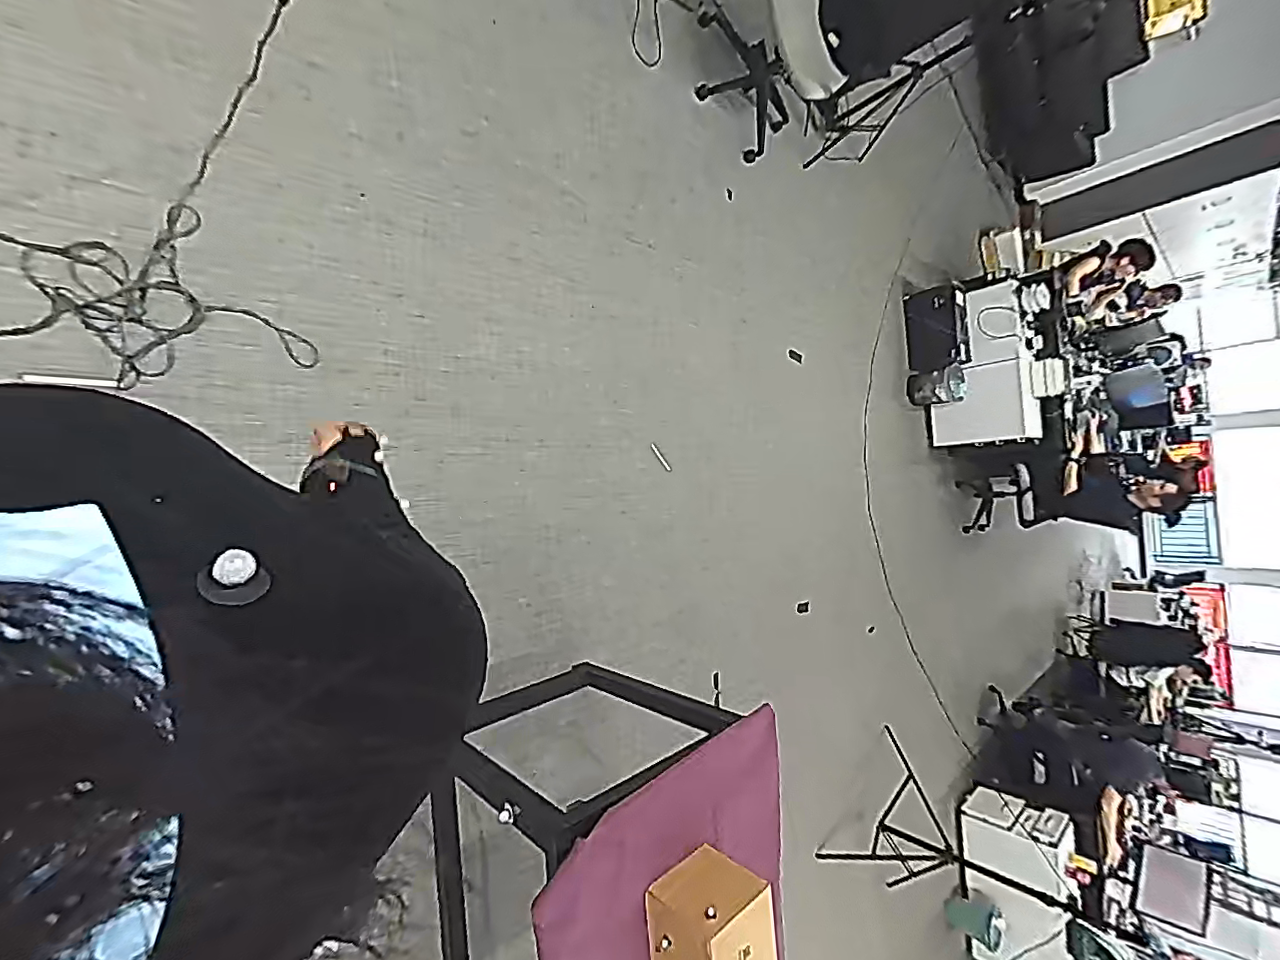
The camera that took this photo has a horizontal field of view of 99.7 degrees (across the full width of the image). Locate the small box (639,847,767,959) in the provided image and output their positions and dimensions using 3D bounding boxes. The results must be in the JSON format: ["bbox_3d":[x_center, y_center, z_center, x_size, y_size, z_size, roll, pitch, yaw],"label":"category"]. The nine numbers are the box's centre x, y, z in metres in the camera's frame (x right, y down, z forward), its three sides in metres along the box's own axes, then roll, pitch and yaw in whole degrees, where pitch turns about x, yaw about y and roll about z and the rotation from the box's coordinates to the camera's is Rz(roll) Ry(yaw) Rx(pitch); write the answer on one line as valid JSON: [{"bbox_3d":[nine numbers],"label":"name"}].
[{"bbox_3d":[0.120,0.854,1.034,0.179,0.176,0.168,-6,92,-41],"label":"small box"}]
